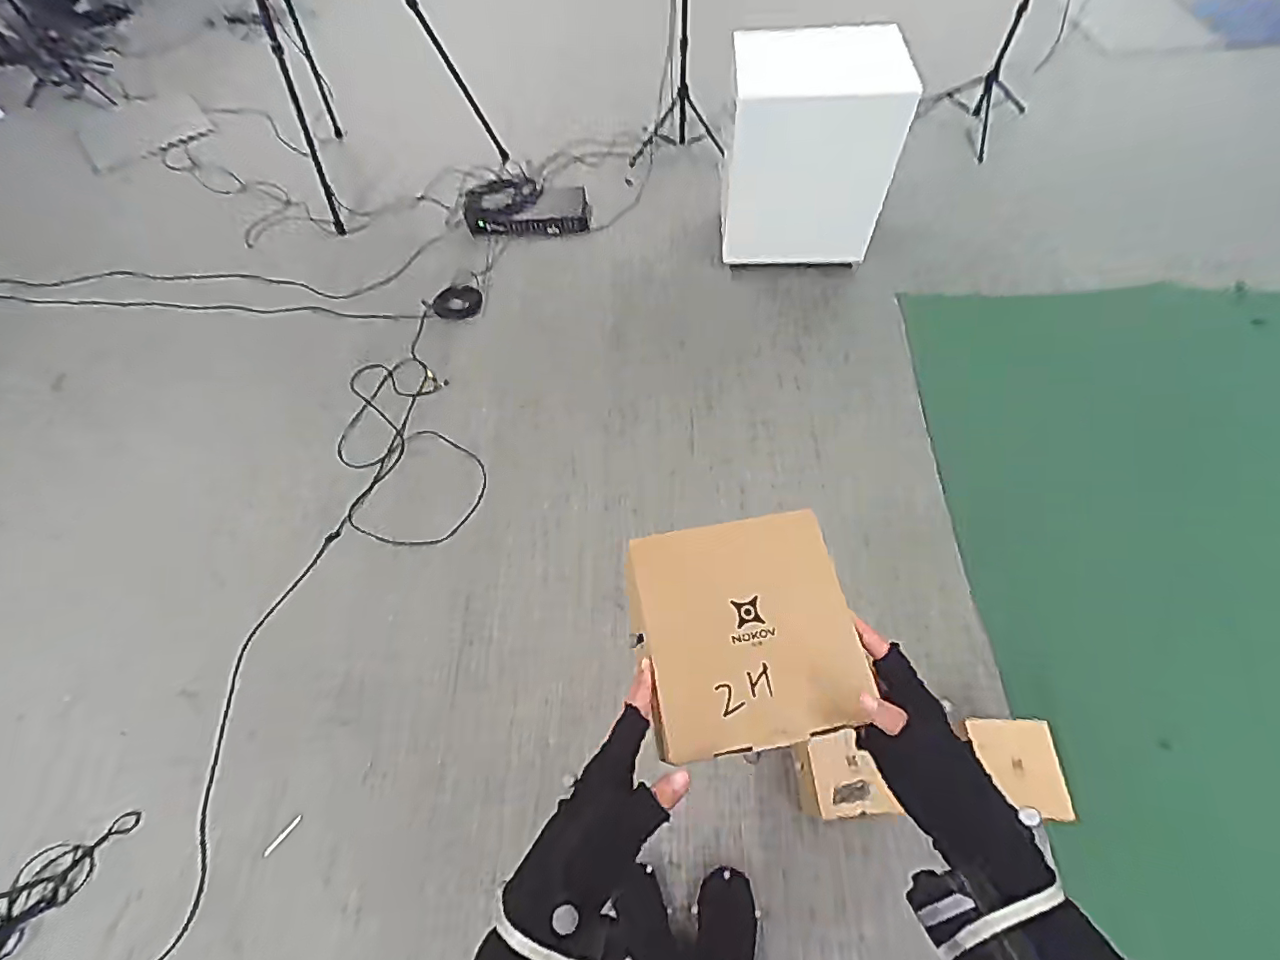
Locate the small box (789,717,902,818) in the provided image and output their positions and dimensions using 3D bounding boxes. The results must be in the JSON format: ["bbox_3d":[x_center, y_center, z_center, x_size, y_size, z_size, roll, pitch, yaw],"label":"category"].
[{"bbox_3d":[0.430,0.616,1.161,0.168,0.176,0.179,-4,59,0],"label":"small box"}]

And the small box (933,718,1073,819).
[{"bbox_3d":[0.754,0.613,1.149,0.168,0.176,0.179,0,60,4],"label":"small box"}]

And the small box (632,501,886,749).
[{"bbox_3d":[0.087,0.141,0.502,0.168,0.176,0.179,-9,65,-6],"label":"small box"}]
